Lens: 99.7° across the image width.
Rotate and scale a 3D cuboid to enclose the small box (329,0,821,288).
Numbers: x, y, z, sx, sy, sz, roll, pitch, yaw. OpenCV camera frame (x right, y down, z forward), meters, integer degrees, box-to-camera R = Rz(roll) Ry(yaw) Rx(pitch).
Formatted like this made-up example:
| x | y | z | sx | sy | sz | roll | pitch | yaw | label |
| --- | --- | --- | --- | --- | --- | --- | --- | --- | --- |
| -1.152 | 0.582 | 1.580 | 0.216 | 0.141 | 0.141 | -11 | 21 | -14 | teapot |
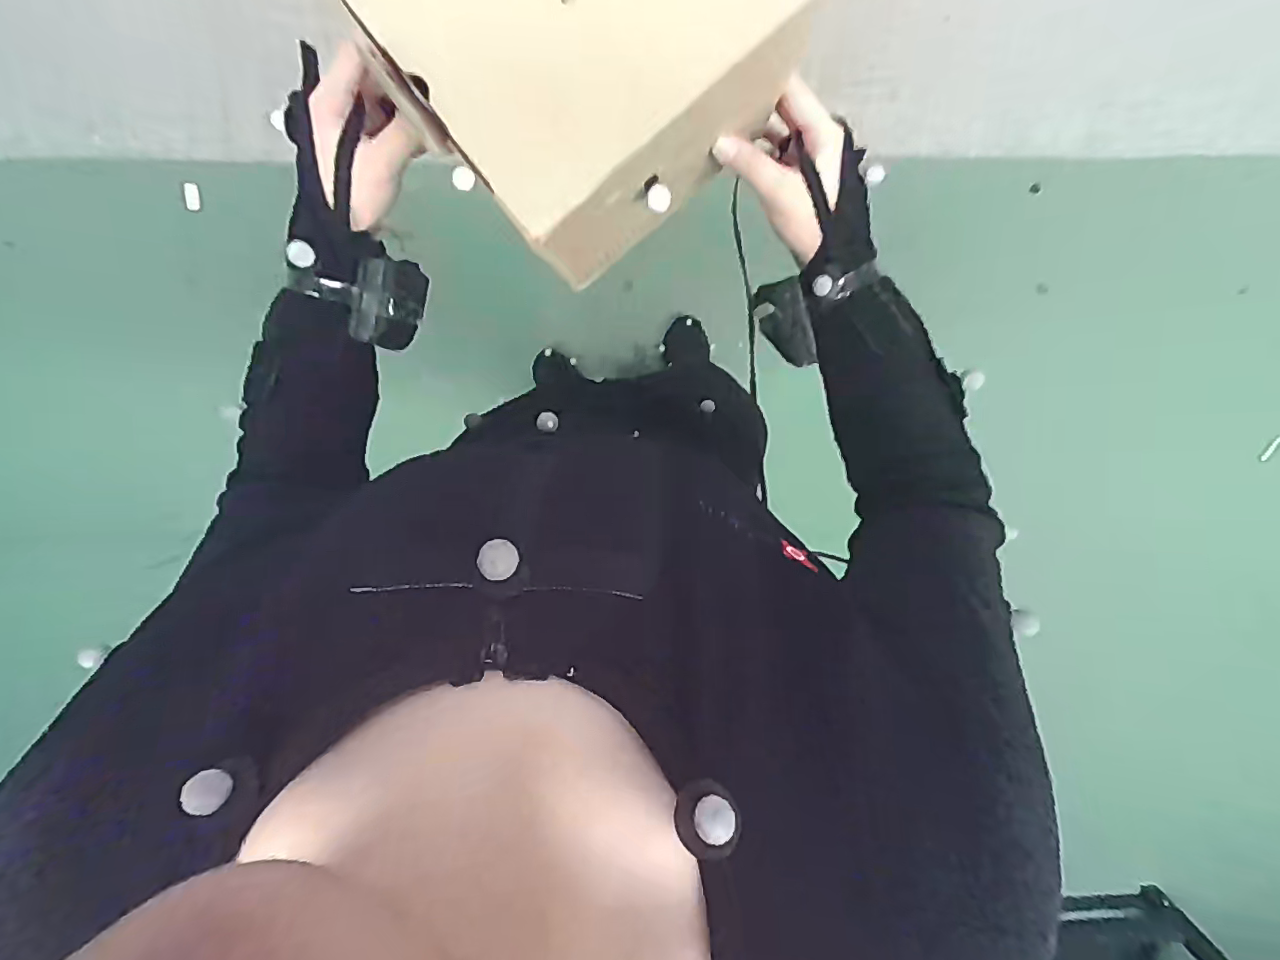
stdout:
| x | y | z | sx | sy | sz | roll | pitch | yaw | label |
| --- | --- | --- | --- | --- | --- | --- | --- | --- | --- |
| -0.030 | -0.238 | 0.319 | 0.179 | 0.176 | 0.168 | -38 | 99 | 9 | small box |
